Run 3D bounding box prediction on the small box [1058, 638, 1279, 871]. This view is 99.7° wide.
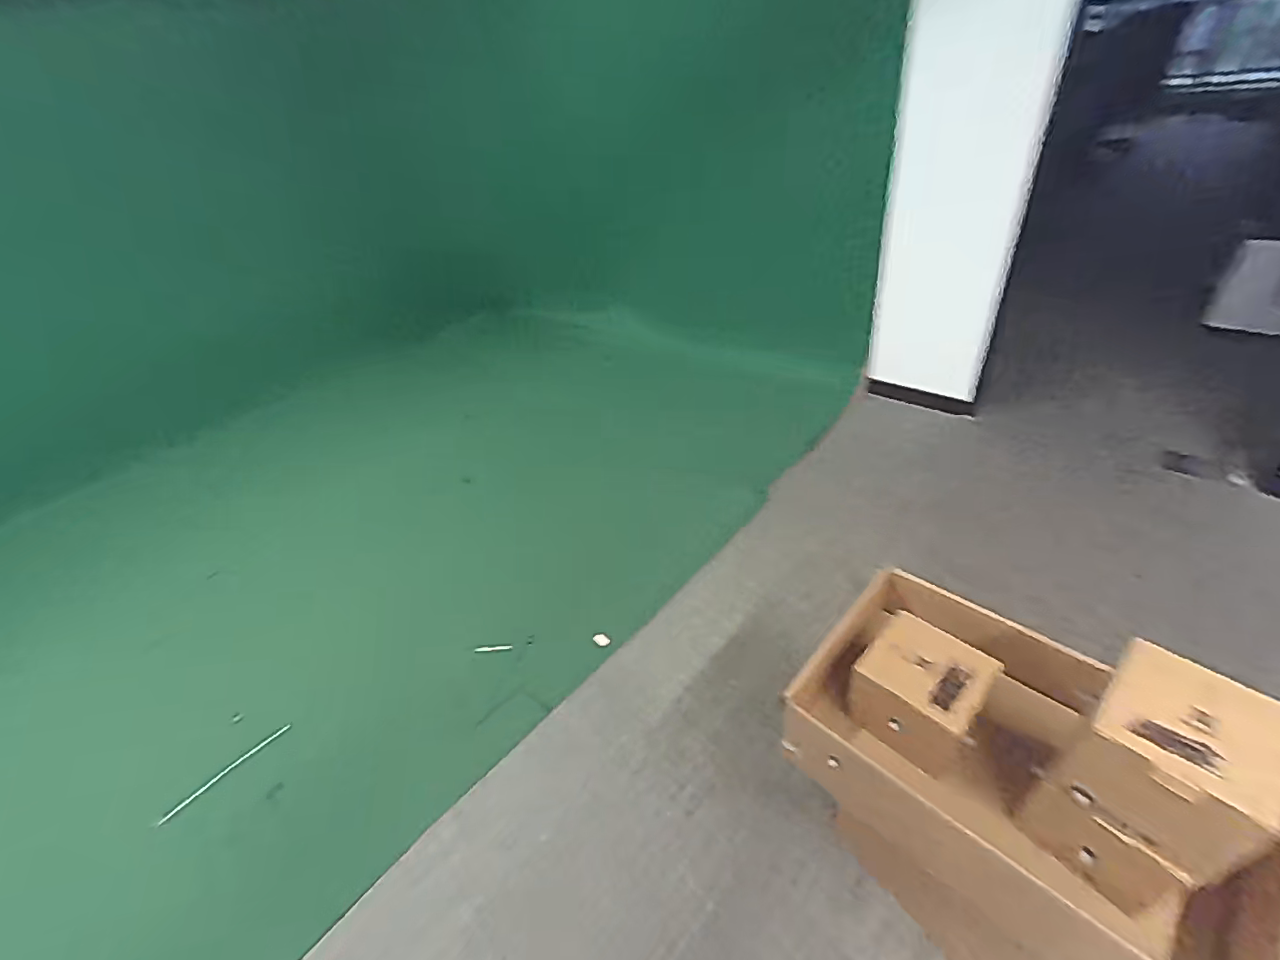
[{"bbox_3d":[0.680,0.351,0.696,0.179,0.176,0.168,-34,44,-27],"label":"small box"}]
